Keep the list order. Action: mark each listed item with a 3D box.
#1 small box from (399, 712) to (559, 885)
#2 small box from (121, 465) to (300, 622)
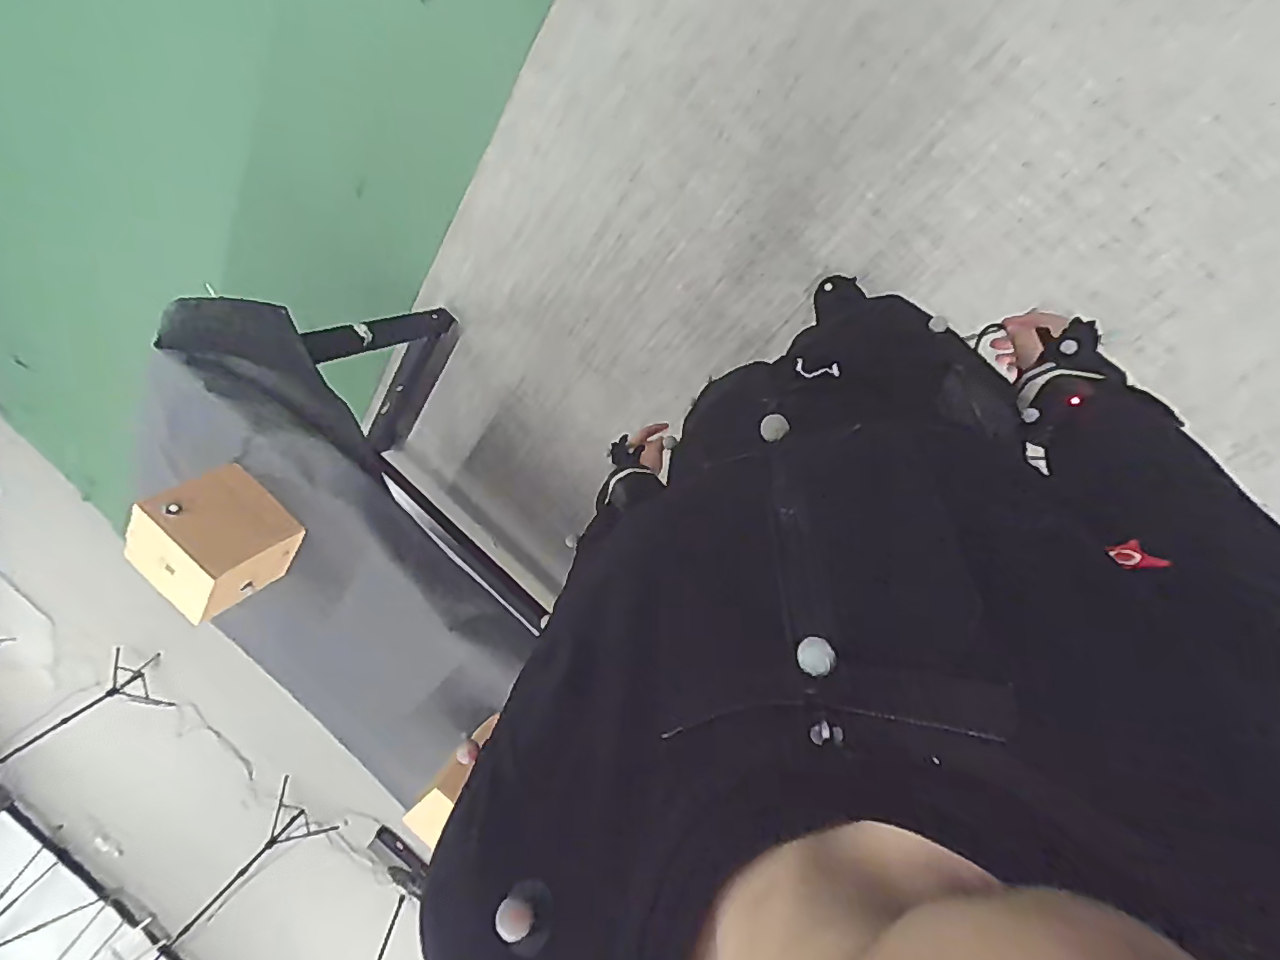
[{"bbox_3d":[-0.273,0.548,0.944,0.179,0.176,0.168,43,121,2],"label":"small box"},{"bbox_3d":[-0.736,0.103,0.937,0.179,0.176,0.168,45,122,-1],"label":"small box"}]
